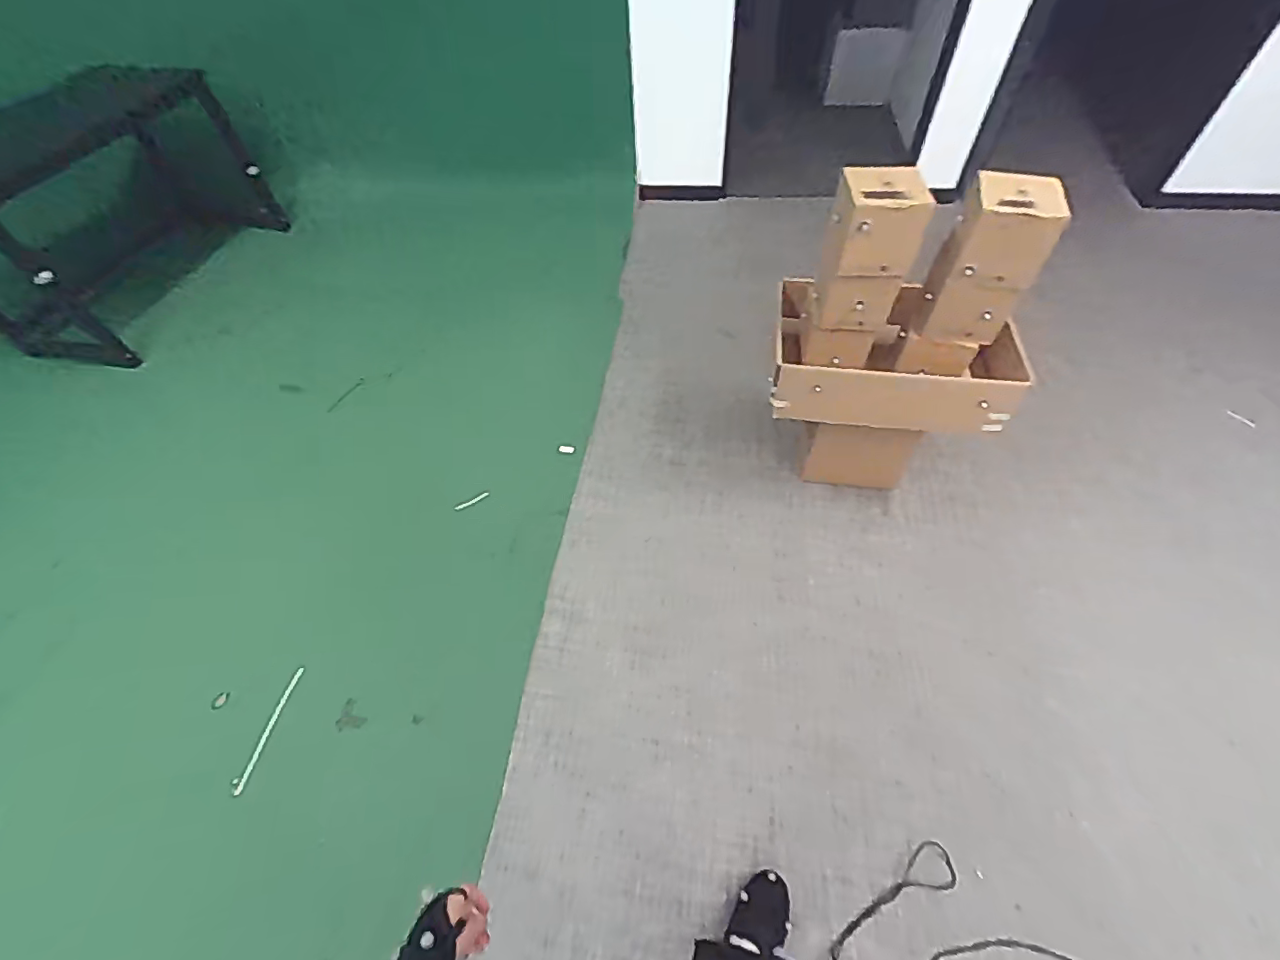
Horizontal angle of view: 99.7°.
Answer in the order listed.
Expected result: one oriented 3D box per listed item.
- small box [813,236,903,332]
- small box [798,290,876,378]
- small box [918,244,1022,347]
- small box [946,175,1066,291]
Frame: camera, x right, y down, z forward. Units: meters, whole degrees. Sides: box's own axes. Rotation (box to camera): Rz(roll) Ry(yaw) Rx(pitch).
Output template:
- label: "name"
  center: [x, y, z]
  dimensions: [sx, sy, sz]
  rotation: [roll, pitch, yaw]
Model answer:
- label: "small box"
  center: [0.548, -0.498, 1.384]
  dimensions: [0.168, 0.176, 0.179]
  rotation: [4, 54, 5]
- label: "small box"
  center: [0.547, -0.413, 1.524]
  dimensions: [0.168, 0.176, 0.179]
  rotation: [3, 54, 6]
- label: "small box"
  center: [0.807, -0.455, 1.343]
  dimensions: [0.168, 0.176, 0.179]
  rotation: [11, 55, 10]
- label: "small box"
  center: [0.805, -0.549, 1.209]
  dimensions: [0.168, 0.176, 0.179]
  rotation: [14, 55, 12]
